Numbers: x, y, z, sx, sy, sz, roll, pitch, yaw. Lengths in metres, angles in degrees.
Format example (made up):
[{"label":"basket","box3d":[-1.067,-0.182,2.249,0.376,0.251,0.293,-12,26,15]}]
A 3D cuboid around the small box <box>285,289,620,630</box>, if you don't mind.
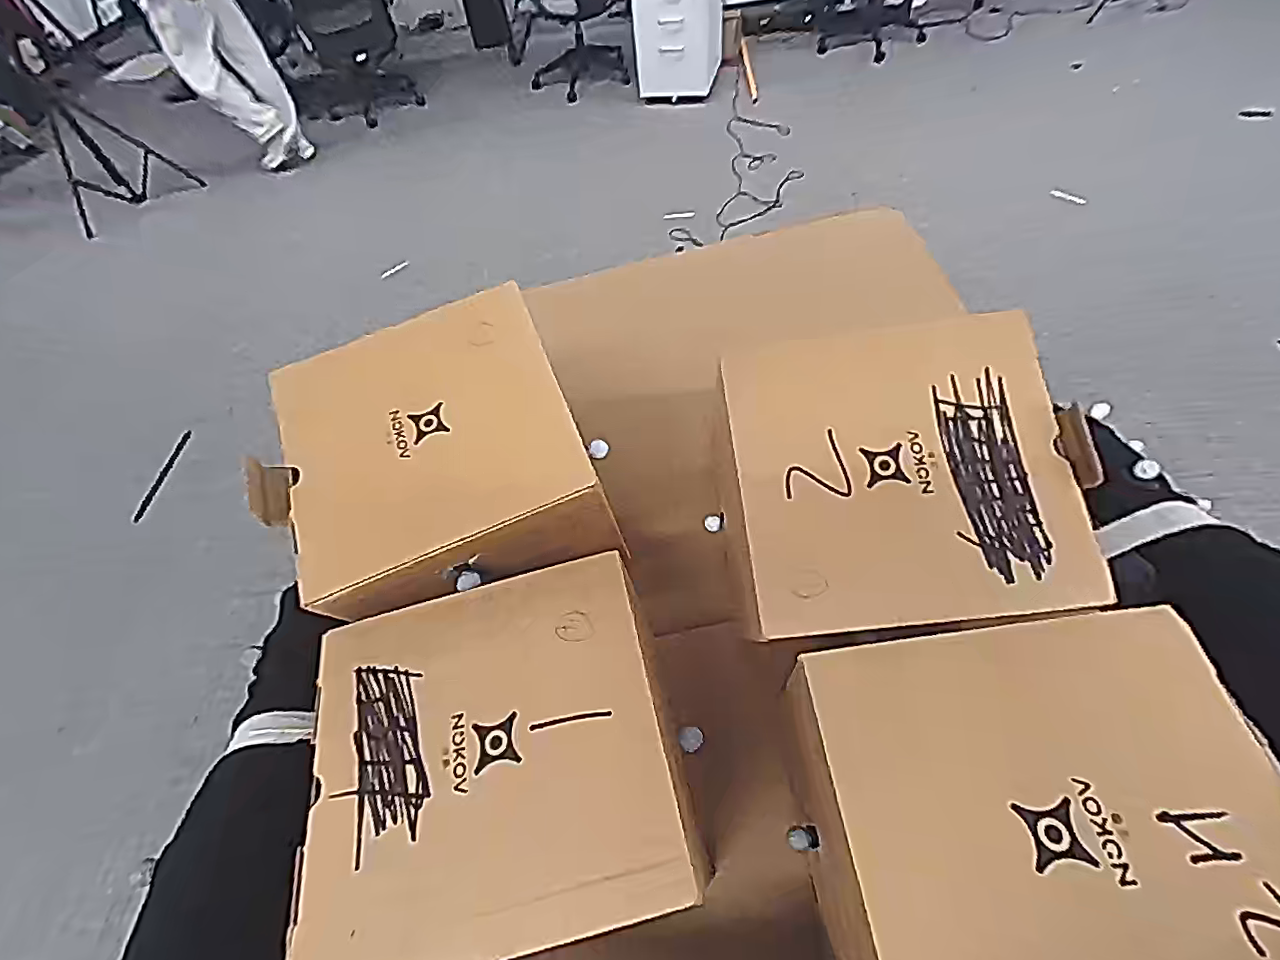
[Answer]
[{"label":"small box","box3d":[-0.123,-0.002,0.412,0.179,0.176,0.168,-23,65,-3]}]
